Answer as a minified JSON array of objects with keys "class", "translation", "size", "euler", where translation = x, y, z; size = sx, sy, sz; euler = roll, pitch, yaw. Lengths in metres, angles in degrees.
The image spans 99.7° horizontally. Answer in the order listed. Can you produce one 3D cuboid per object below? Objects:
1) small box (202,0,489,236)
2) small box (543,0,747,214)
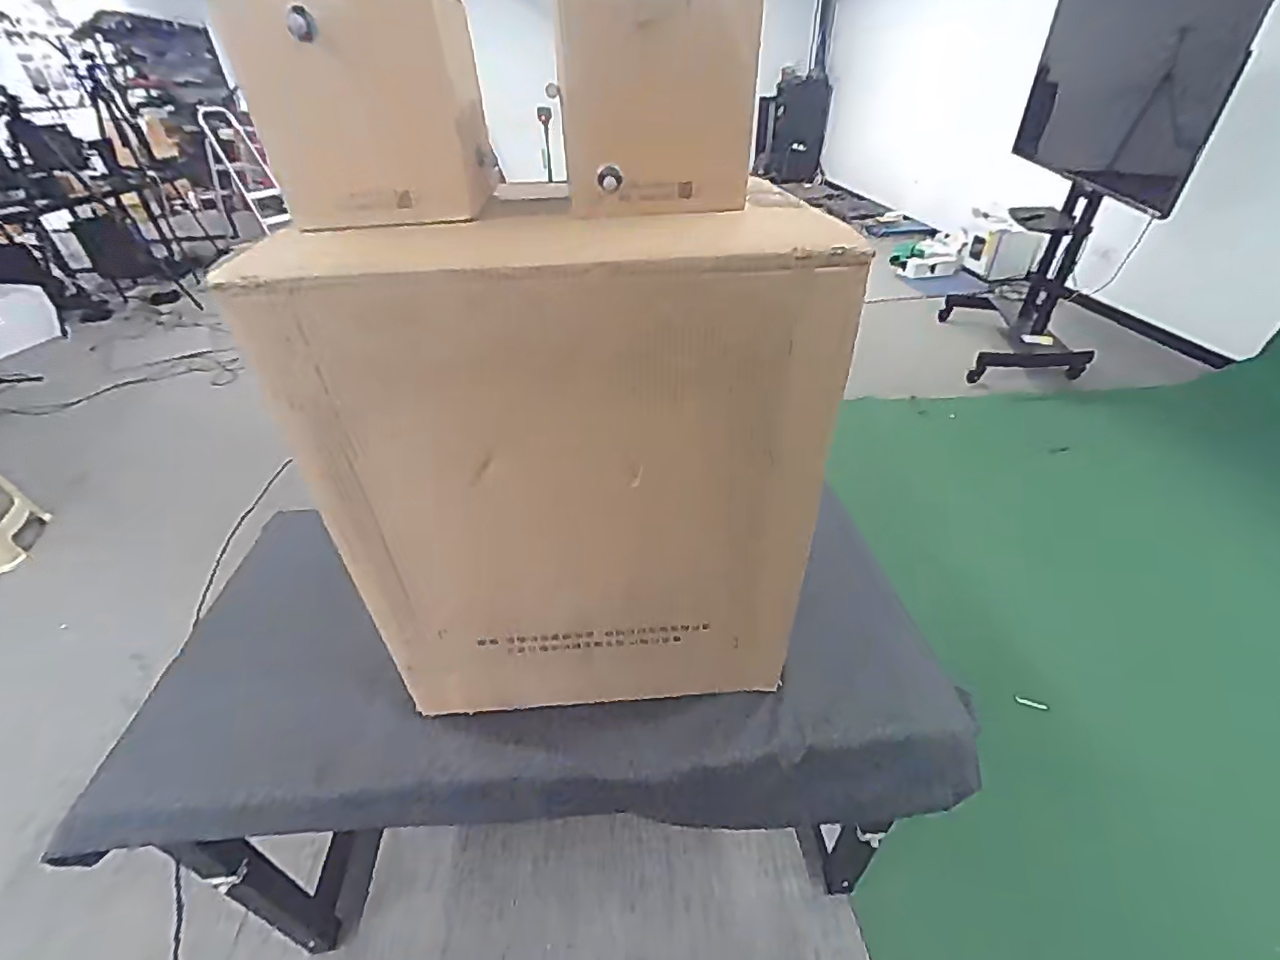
[{"class":"small box","translation":[-0.249,-0.343,0.518],"size":[0.168,0.176,0.179],"euler":[-6,38,-2]},{"class":"small box","translation":[0.000,-0.367,0.528],"size":[0.168,0.176,0.179],"euler":[-7,38,-6]}]
